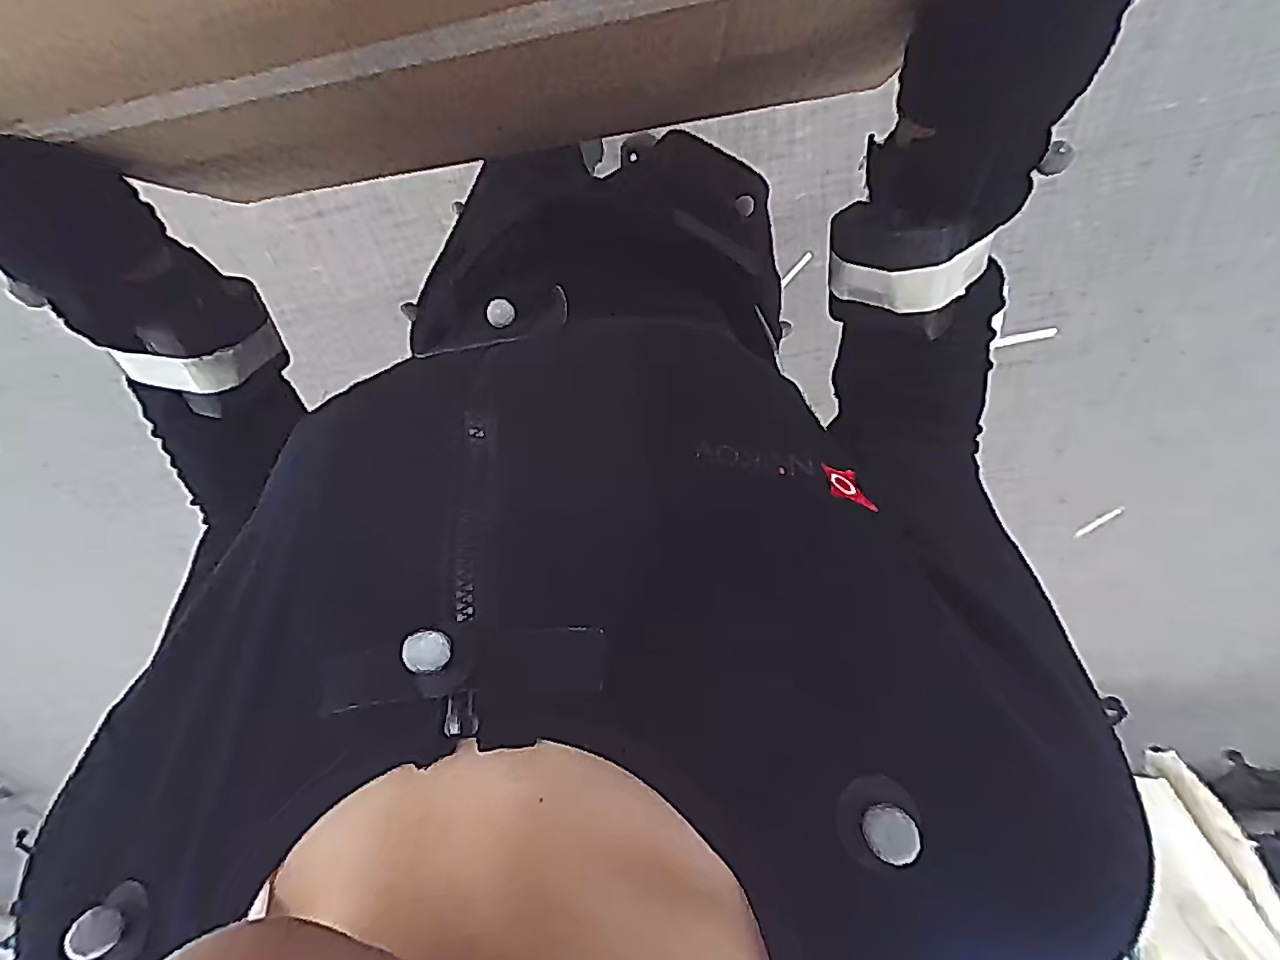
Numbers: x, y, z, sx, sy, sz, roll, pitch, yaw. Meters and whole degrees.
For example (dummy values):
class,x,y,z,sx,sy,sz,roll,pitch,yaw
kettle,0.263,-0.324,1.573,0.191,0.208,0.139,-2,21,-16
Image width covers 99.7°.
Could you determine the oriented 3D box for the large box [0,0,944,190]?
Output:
class,x,y,z,sx,sy,sz,roll,pitch,yaw
large box,-0.089,-0.310,0.149,0.408,0.320,0.320,-7,108,5
